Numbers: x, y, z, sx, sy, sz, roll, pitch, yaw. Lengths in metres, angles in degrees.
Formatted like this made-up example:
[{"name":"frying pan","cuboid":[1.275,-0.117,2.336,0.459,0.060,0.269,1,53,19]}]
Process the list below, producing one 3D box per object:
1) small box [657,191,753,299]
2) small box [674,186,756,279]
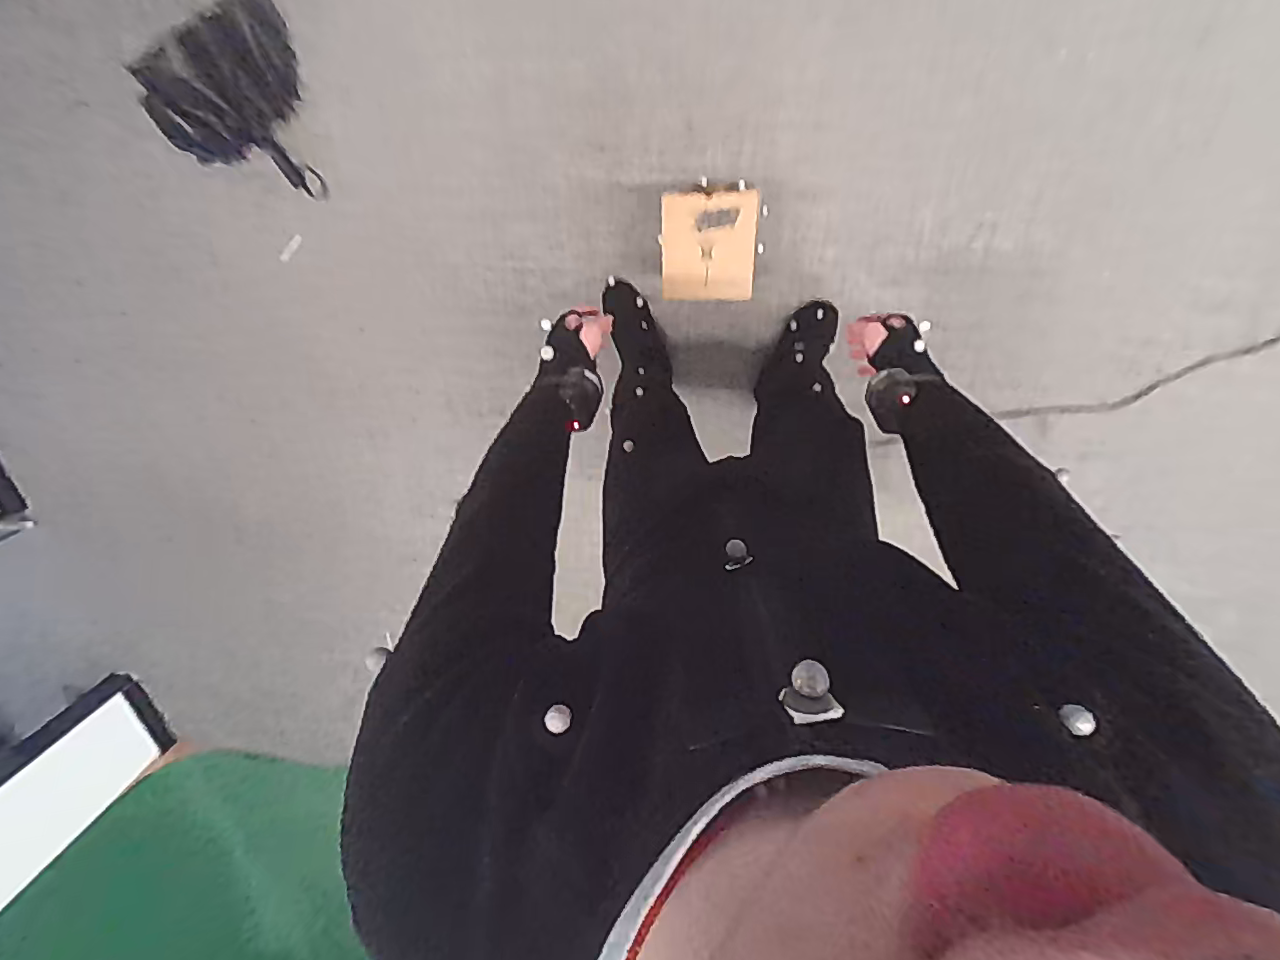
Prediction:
[{"name":"small box","cuboid":[0.125,-0.451,1.032,0.168,0.176,0.179,4,119,11]},{"name":"small box","cuboid":[0.159,-0.536,1.169,0.168,0.176,0.179,5,121,10]}]
